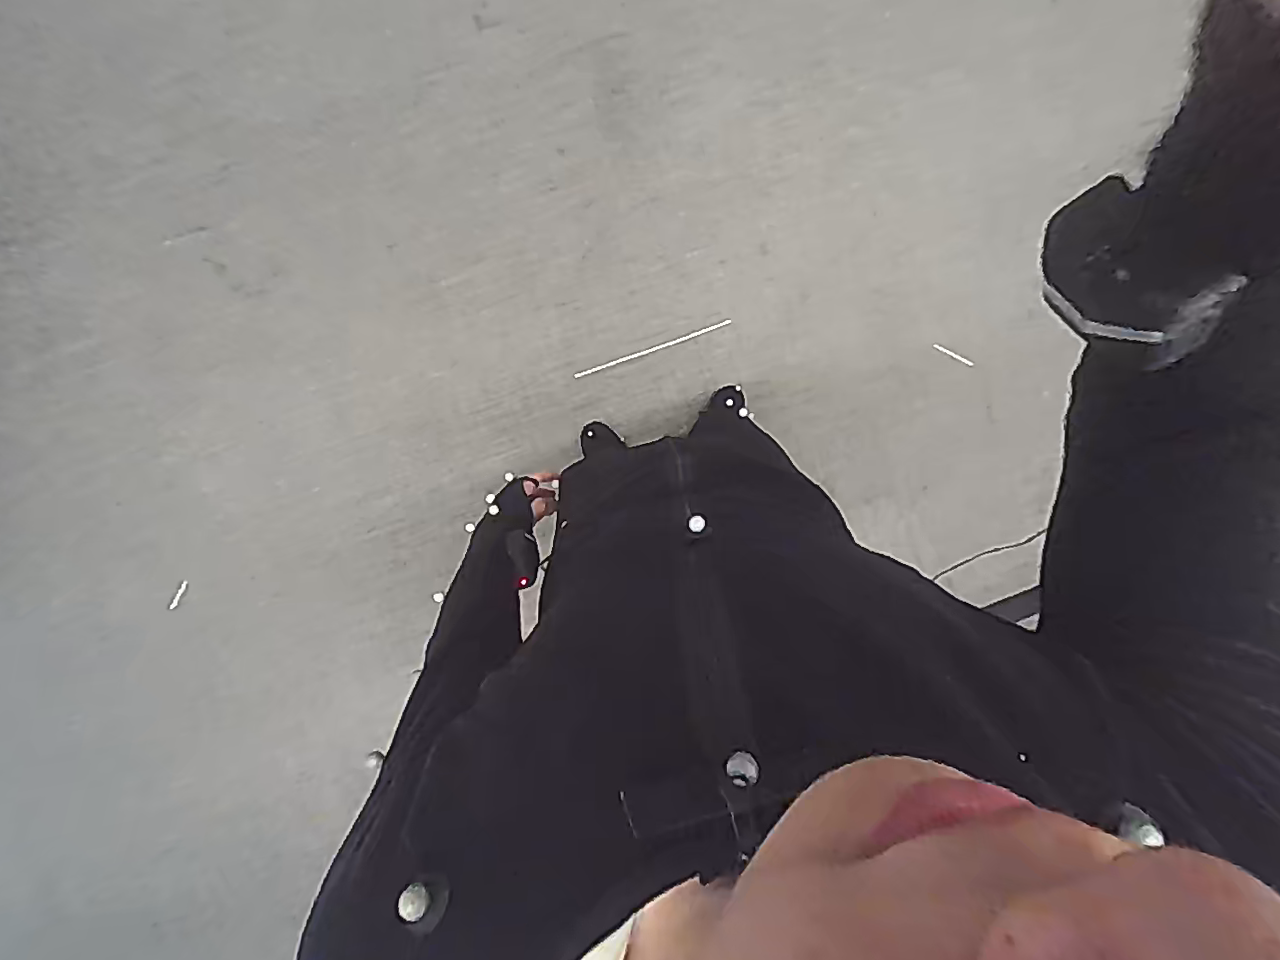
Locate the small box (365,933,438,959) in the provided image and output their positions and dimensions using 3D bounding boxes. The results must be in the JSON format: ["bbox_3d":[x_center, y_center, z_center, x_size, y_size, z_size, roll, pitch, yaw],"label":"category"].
[{"bbox_3d":[-0.659,1.377,1.451,0.179,0.176,0.168,-13,98,-1],"label":"small box"}]

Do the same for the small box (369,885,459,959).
[{"bbox_3d":[-0.667,1.364,1.614,0.179,0.176,0.168,-14,98,-1],"label":"small box"}]
